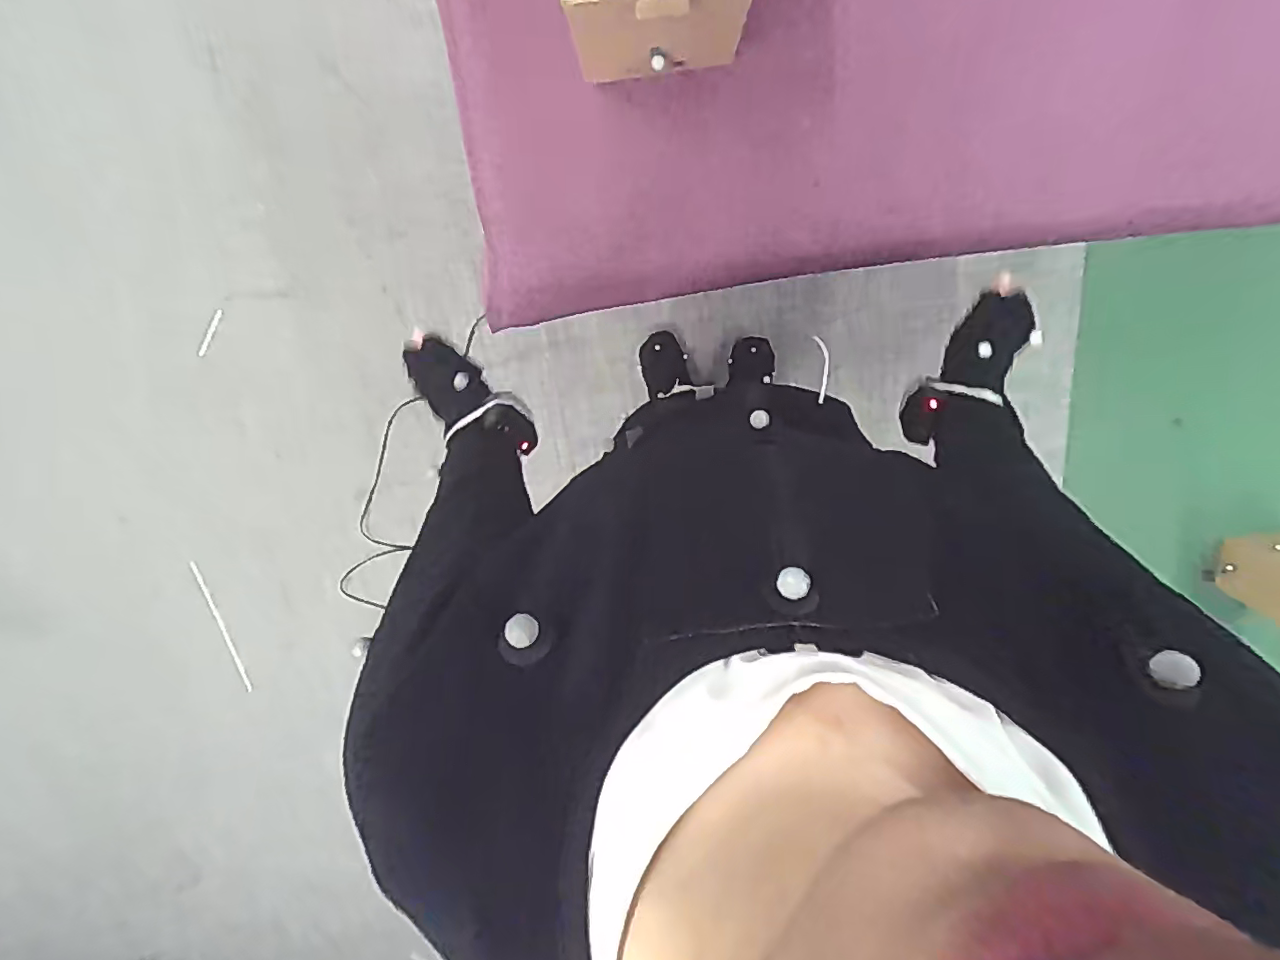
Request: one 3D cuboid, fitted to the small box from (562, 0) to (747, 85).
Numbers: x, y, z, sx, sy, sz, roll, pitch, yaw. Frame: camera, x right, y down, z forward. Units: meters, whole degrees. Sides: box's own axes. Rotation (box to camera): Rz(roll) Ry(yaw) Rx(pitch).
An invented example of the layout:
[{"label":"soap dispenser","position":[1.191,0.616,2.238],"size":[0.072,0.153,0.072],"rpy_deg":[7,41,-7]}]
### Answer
[{"label":"small box","position":[0.006,-0.509,0.502],"size":[0.168,0.176,0.179],"rpy_deg":[-5,107,3]}]
